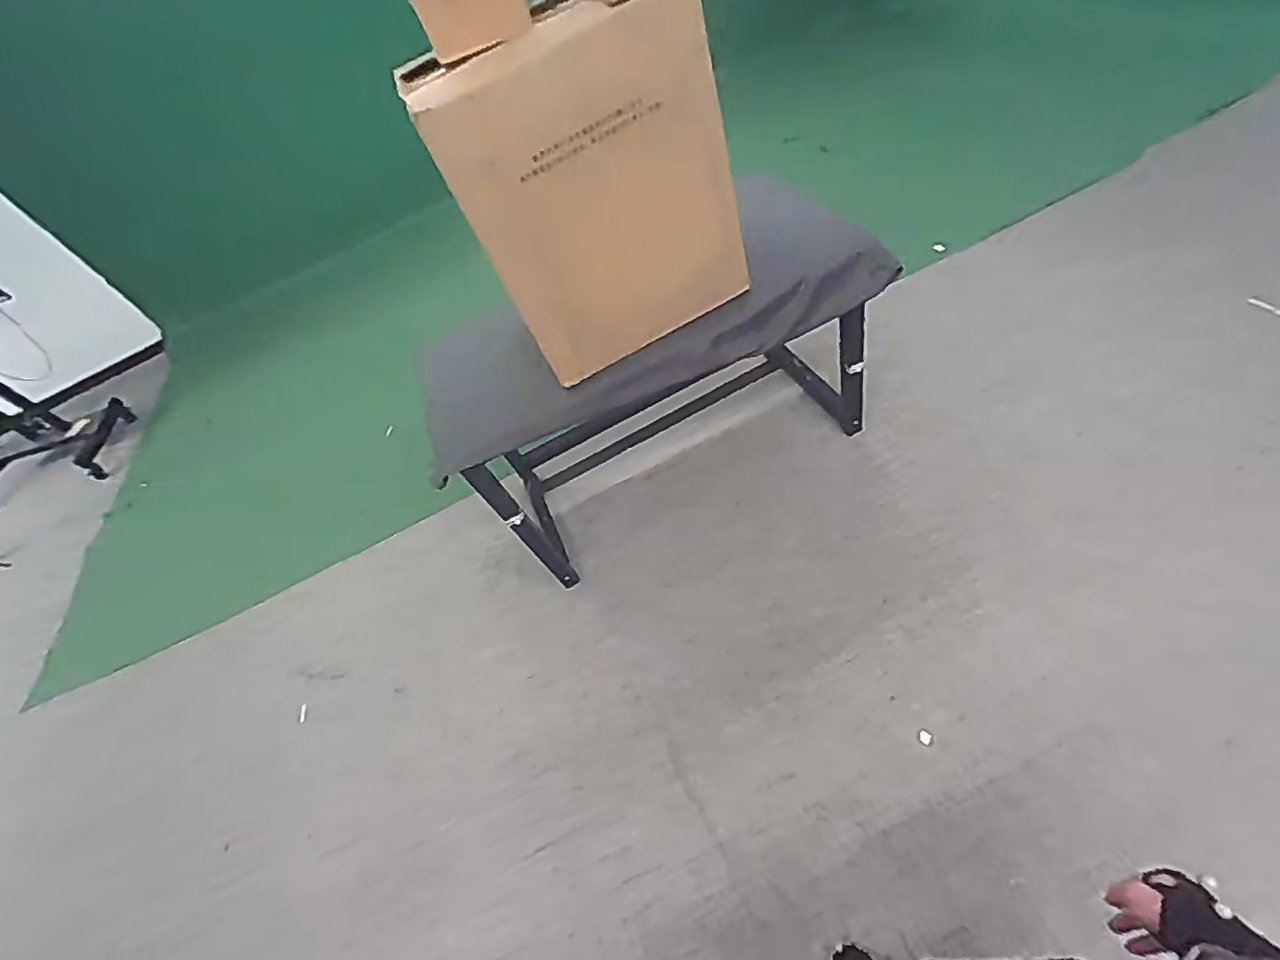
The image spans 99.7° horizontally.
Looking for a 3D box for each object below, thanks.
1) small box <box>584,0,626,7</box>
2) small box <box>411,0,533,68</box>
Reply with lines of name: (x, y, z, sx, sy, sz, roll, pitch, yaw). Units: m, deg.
small box: (-0.033, -0.912, 0.884, 0.168, 0.176, 0.179, -29, 50, -3)
small box: (-0.304, -0.854, 0.927, 0.179, 0.176, 0.168, -18, 58, 6)
